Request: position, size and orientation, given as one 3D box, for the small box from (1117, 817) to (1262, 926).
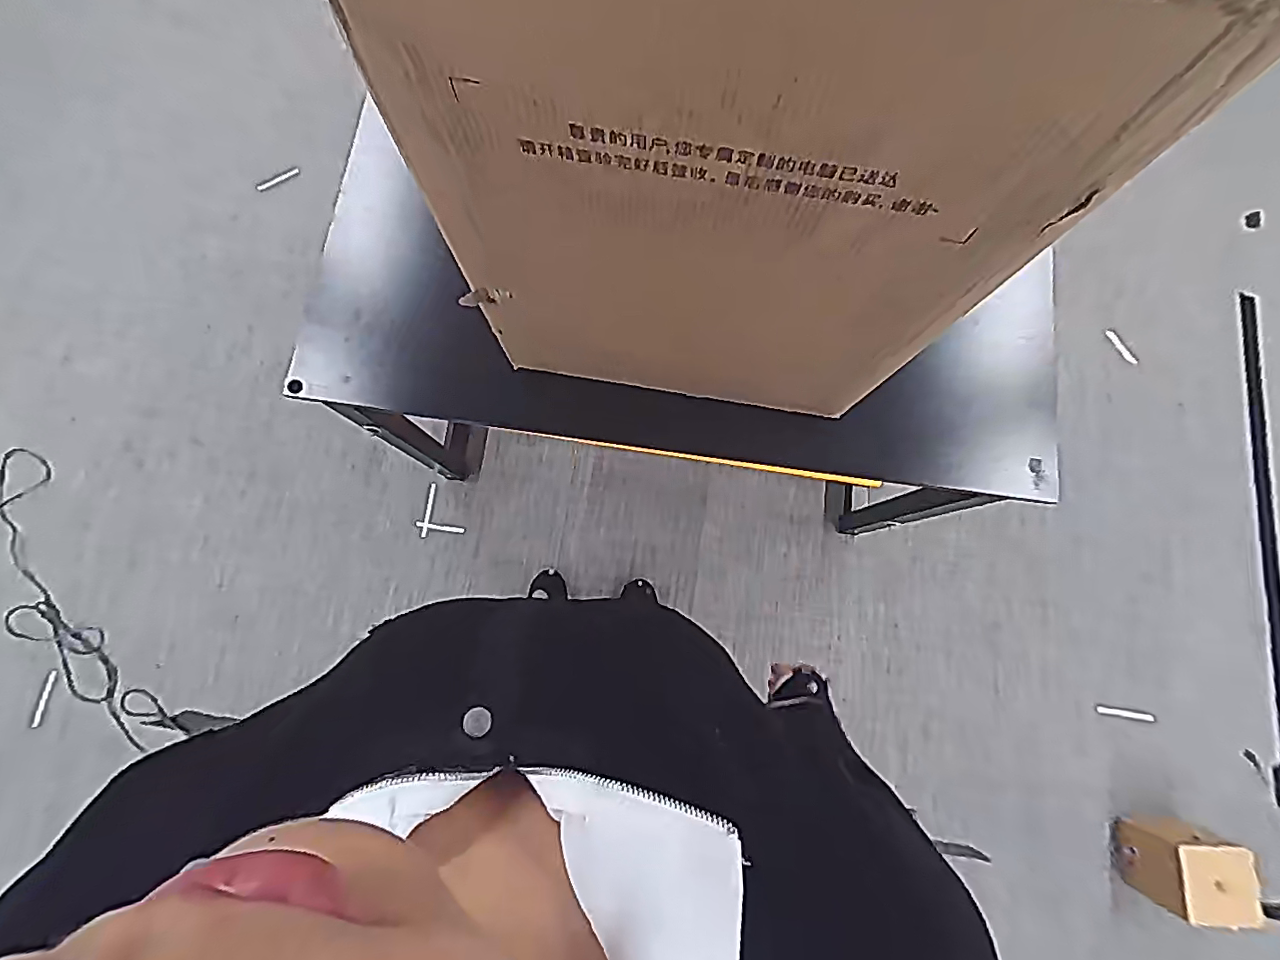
[{"bbox_3d":[1.337,0.951,1.327,0.179,0.176,0.168,1,78,0],"label":"small box"}]
